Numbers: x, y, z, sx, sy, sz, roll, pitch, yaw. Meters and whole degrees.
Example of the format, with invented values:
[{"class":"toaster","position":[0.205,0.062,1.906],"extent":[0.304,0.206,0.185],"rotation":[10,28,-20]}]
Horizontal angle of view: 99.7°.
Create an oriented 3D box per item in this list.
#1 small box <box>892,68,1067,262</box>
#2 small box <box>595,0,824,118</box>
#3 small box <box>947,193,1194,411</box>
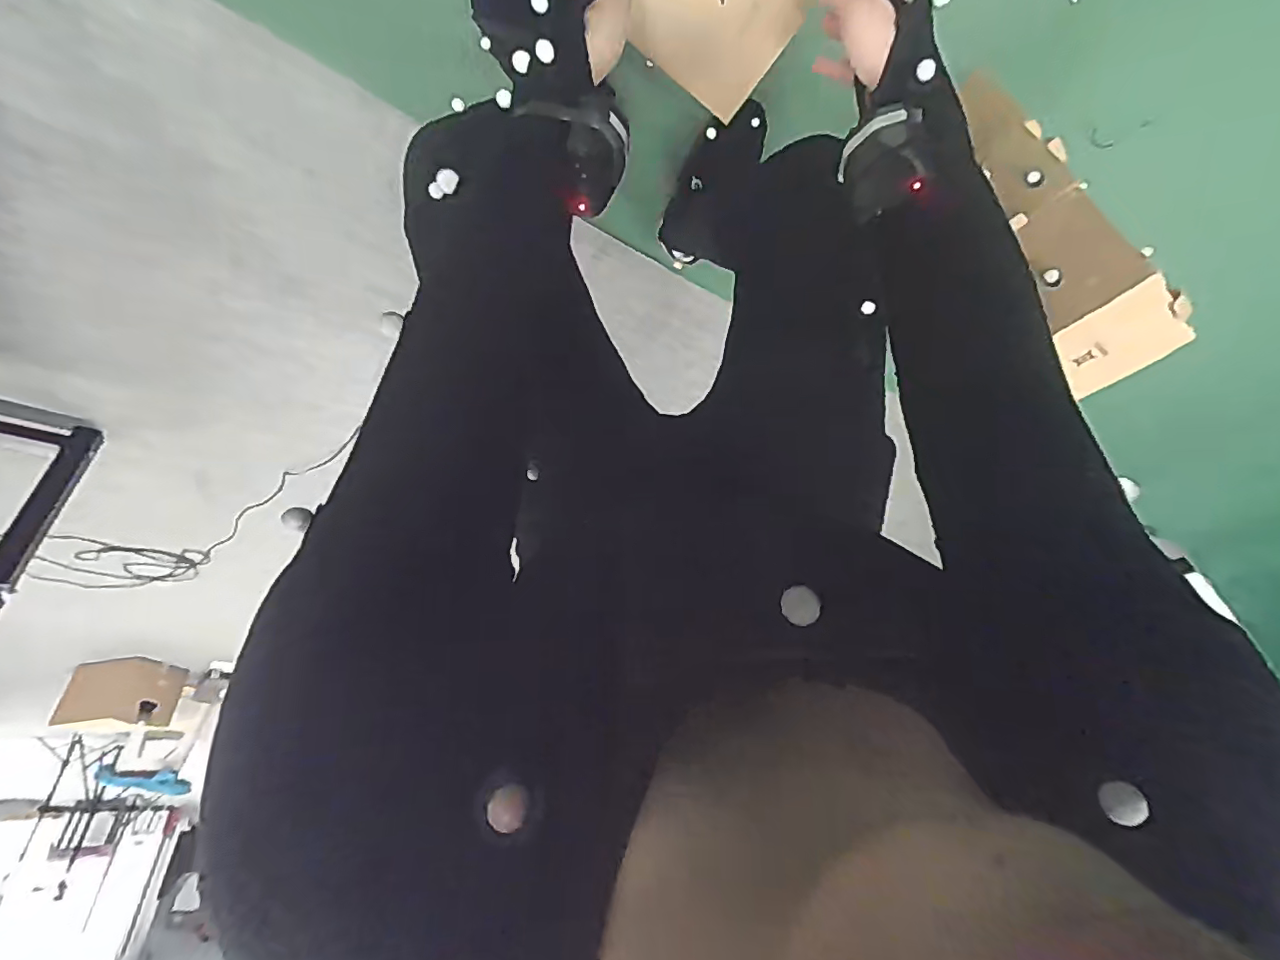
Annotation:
[{"class":"small box","position":[0.536,-0.505,0.878],"extent":[0.168,0.176,0.179],"rotation":[23,138,-36]},{"class":"small box","position":[0.069,-0.508,0.517],"extent":[0.179,0.176,0.168],"rotation":[18,142,-31]},{"class":"small box","position":[0.545,-0.226,0.703],"extent":[0.168,0.176,0.179],"rotation":[19,140,-34]}]
